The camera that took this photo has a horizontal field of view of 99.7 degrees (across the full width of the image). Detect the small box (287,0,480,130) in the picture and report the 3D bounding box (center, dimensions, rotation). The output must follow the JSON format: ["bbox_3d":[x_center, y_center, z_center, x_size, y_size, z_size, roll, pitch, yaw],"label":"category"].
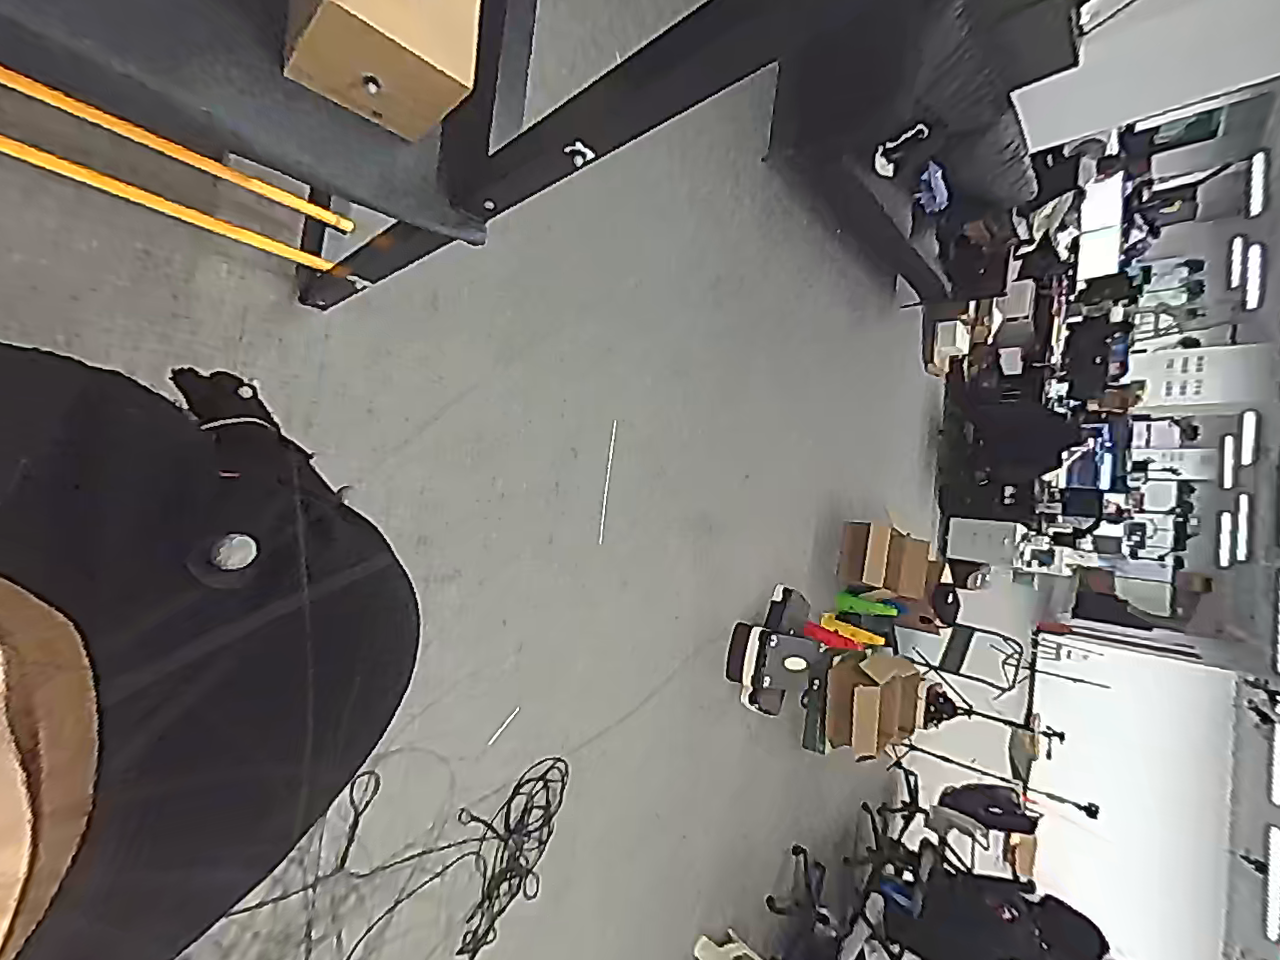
[{"bbox_3d":[-0.315,-0.580,0.664,0.168,0.176,0.179,5,88,-47],"label":"small box"}]
